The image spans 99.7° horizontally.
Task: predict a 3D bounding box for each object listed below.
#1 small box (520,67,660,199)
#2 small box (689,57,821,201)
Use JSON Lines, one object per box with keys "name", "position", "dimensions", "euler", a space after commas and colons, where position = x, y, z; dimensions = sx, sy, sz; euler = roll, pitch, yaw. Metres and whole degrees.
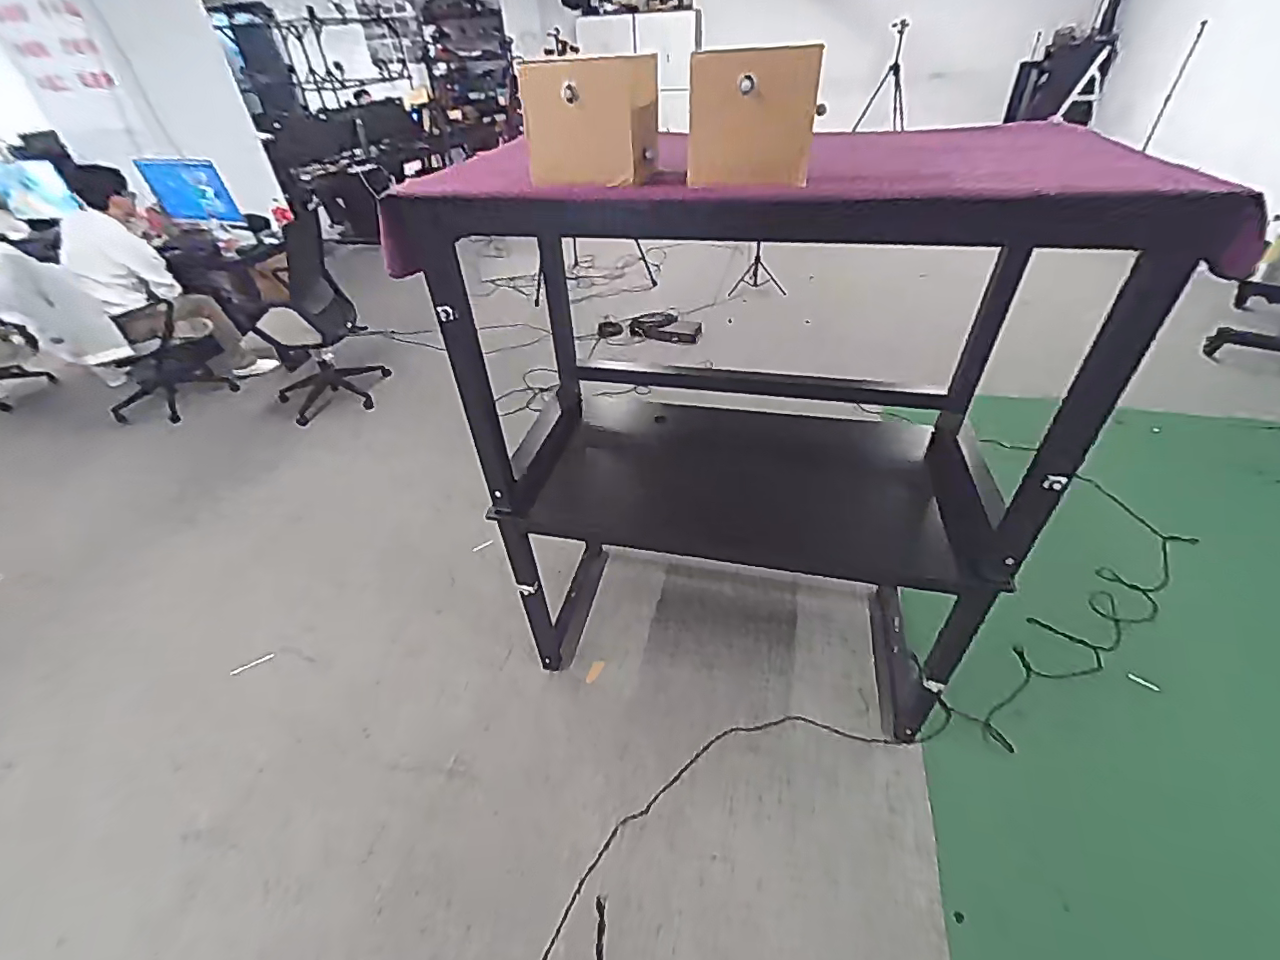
{"name": "small box", "position": [-0.071, -0.569, 0.888], "dimensions": [0.179, 0.176, 0.168], "euler": [9, 40, 14]}
{"name": "small box", "position": [0.174, -0.539, 0.832], "dimensions": [0.179, 0.176, 0.168], "euler": [6, 38, 12]}
